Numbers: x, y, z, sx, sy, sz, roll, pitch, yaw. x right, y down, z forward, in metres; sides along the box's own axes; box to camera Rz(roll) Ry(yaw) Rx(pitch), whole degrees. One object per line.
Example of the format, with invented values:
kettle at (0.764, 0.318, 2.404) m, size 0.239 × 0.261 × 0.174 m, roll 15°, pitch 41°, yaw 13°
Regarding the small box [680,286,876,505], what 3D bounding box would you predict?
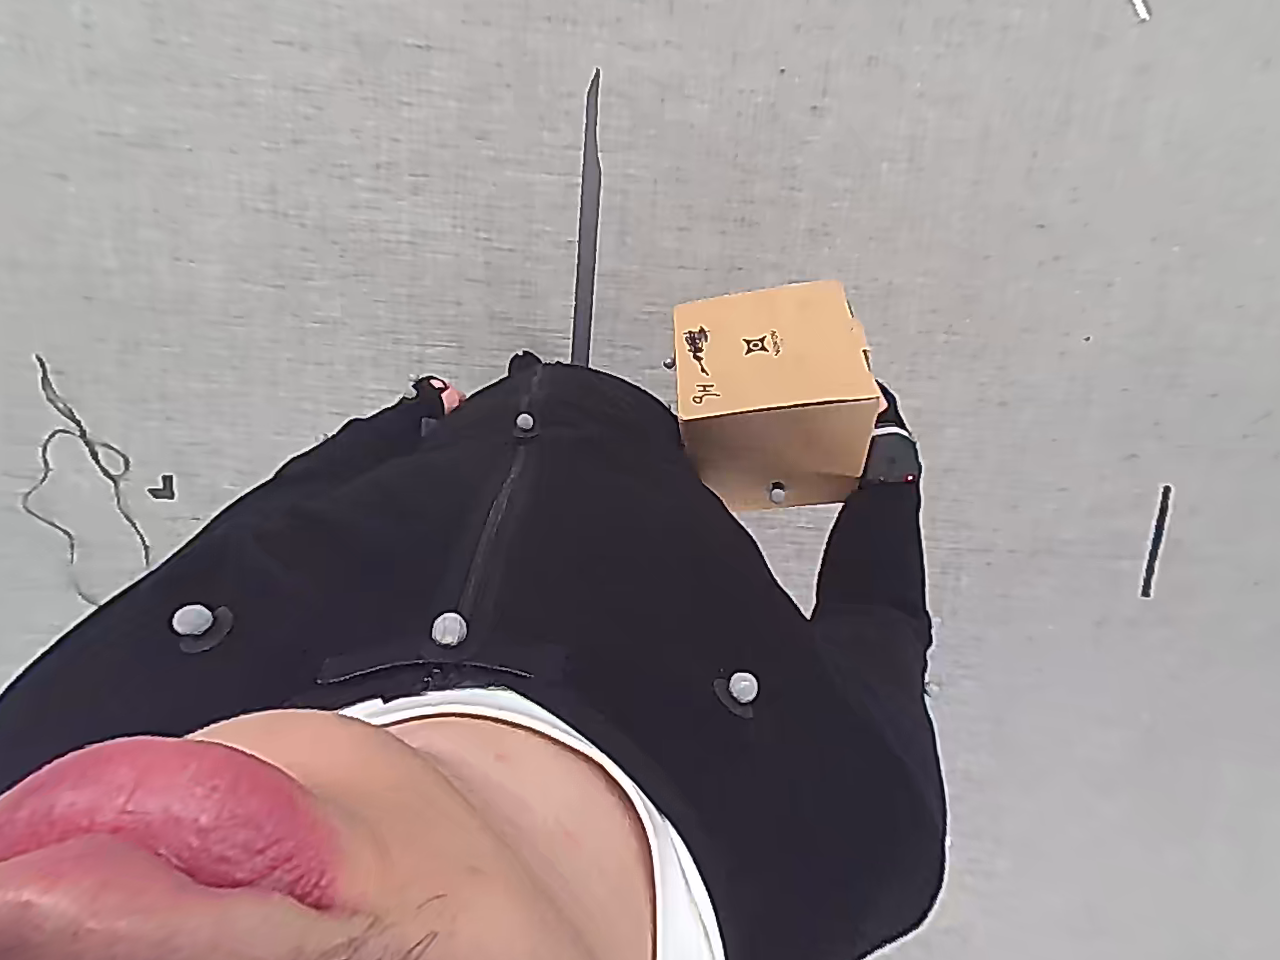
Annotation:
small box at (0.140, -0.086, 0.602) m, size 0.179 × 0.168 × 0.176 m, roll -5°, pitch 144°, yaw 8°
